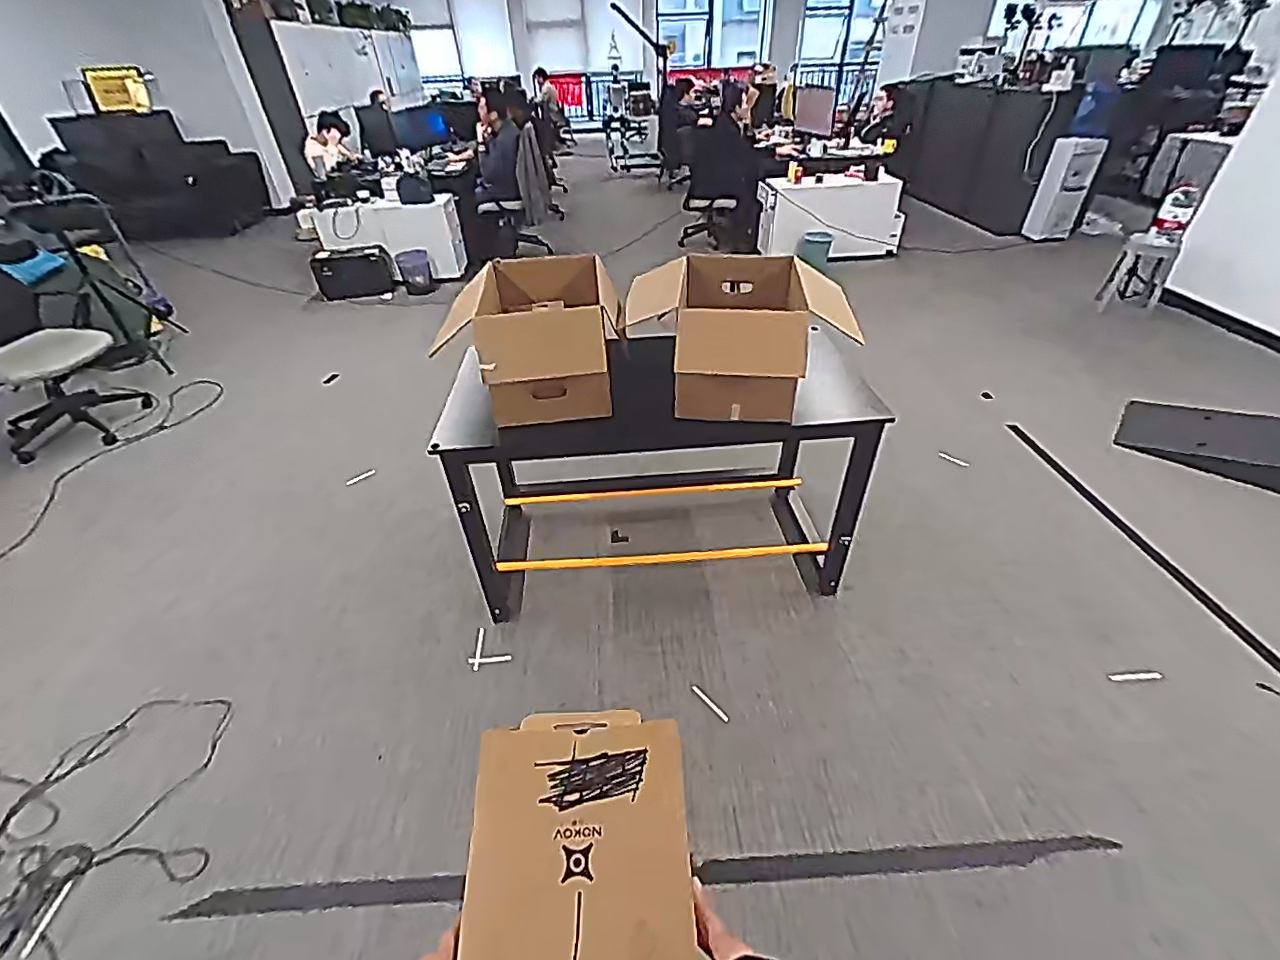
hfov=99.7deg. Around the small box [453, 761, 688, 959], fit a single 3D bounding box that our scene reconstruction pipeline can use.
[{"bbox_3d":[-0.050,0.355,0.458,0.168,0.176,0.179,-3,52,-2],"label":"small box"}]
